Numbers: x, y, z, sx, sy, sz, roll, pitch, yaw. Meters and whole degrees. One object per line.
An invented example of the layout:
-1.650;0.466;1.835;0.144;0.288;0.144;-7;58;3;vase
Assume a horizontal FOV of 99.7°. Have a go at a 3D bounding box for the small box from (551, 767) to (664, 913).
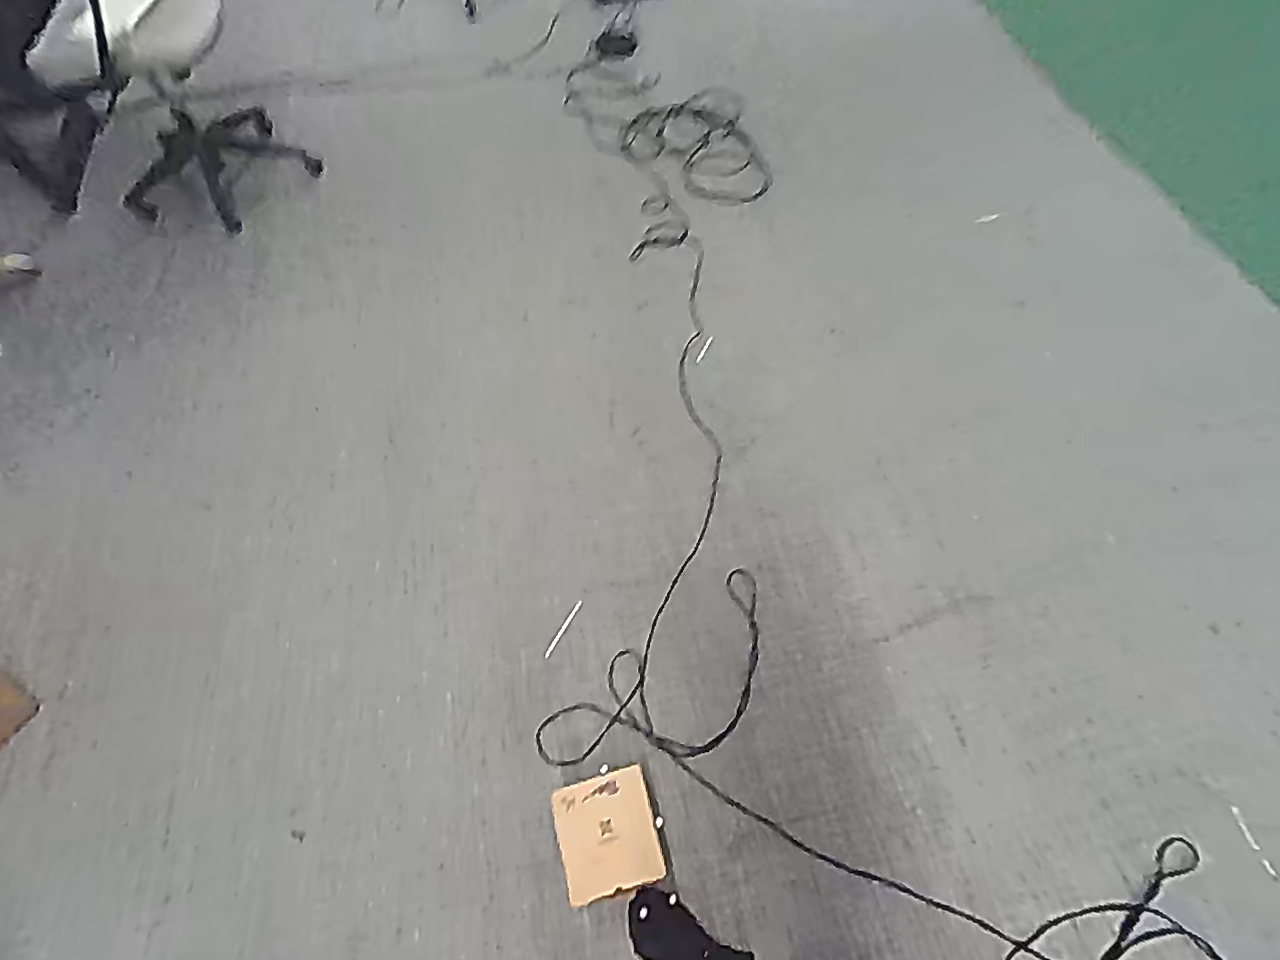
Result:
-0.055;0.649;0.998;0.168;0.176;0.179;-15;65;-6;small box
